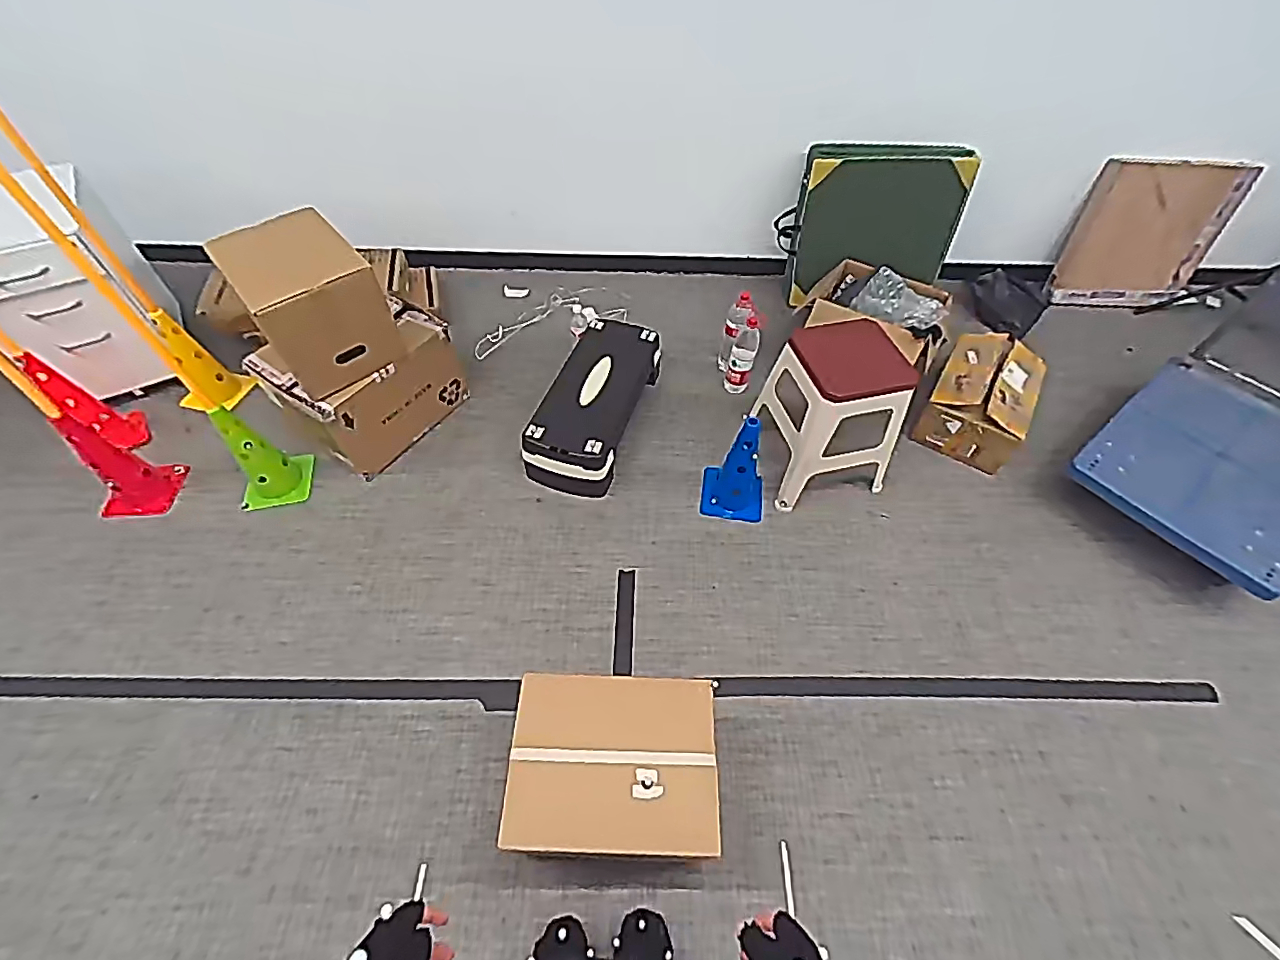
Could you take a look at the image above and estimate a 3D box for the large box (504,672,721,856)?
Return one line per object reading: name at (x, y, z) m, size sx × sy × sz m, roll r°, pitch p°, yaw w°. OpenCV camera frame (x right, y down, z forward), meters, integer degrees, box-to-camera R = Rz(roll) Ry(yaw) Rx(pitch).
large box at (-0.056, 0.629, 1.185) m, size 0.408 × 0.320 × 0.320 m, roll 3°, pitch 54°, yaw -1°
